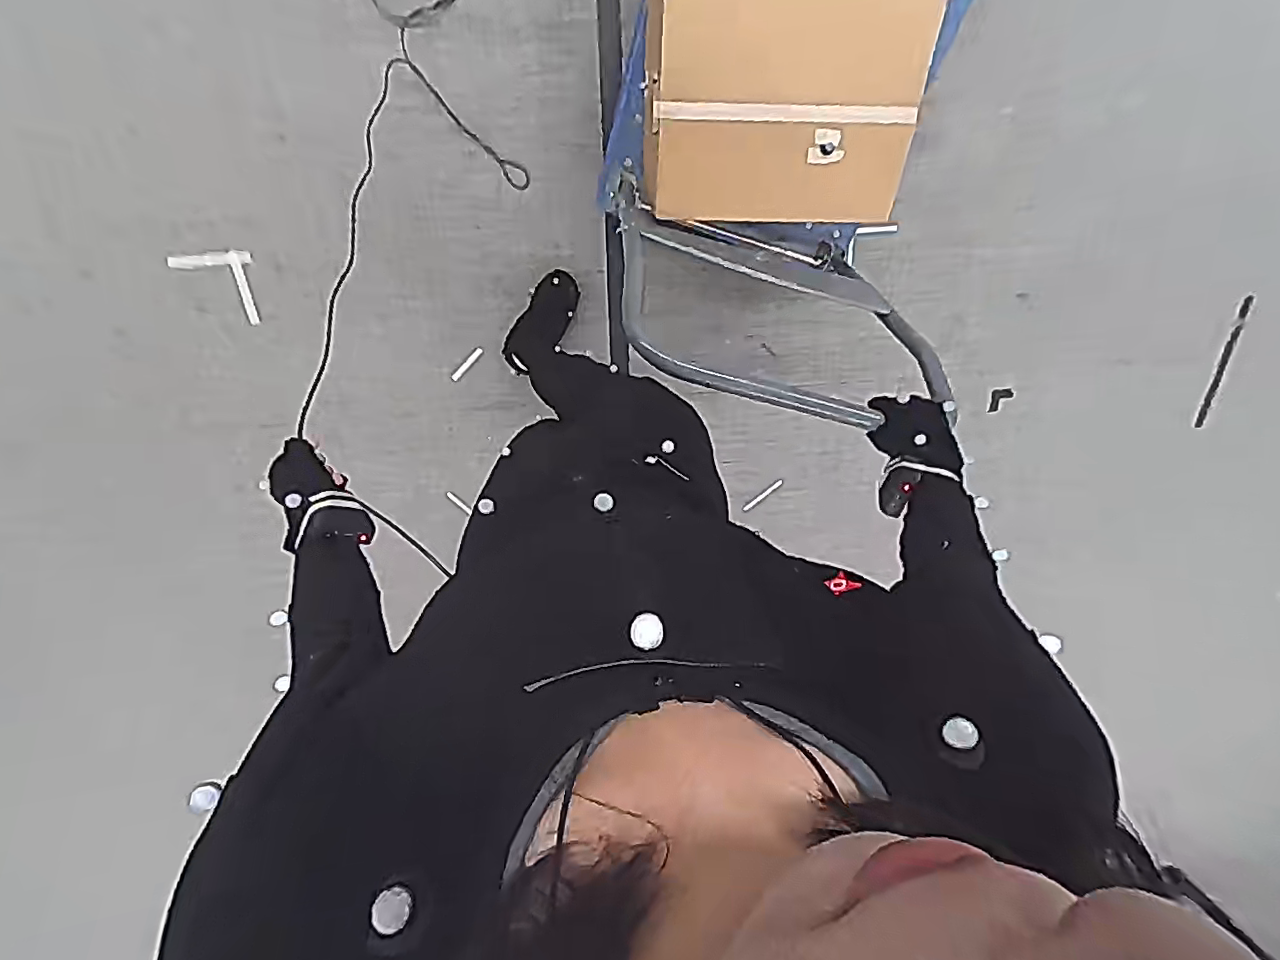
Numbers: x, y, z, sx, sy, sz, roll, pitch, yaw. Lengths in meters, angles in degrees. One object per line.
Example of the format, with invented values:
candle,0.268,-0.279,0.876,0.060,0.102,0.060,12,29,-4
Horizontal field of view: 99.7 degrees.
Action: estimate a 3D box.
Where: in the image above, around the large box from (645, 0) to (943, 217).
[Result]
large box,0.217,-0.661,0.942,0.408,0.320,0.320,-2,128,-4
